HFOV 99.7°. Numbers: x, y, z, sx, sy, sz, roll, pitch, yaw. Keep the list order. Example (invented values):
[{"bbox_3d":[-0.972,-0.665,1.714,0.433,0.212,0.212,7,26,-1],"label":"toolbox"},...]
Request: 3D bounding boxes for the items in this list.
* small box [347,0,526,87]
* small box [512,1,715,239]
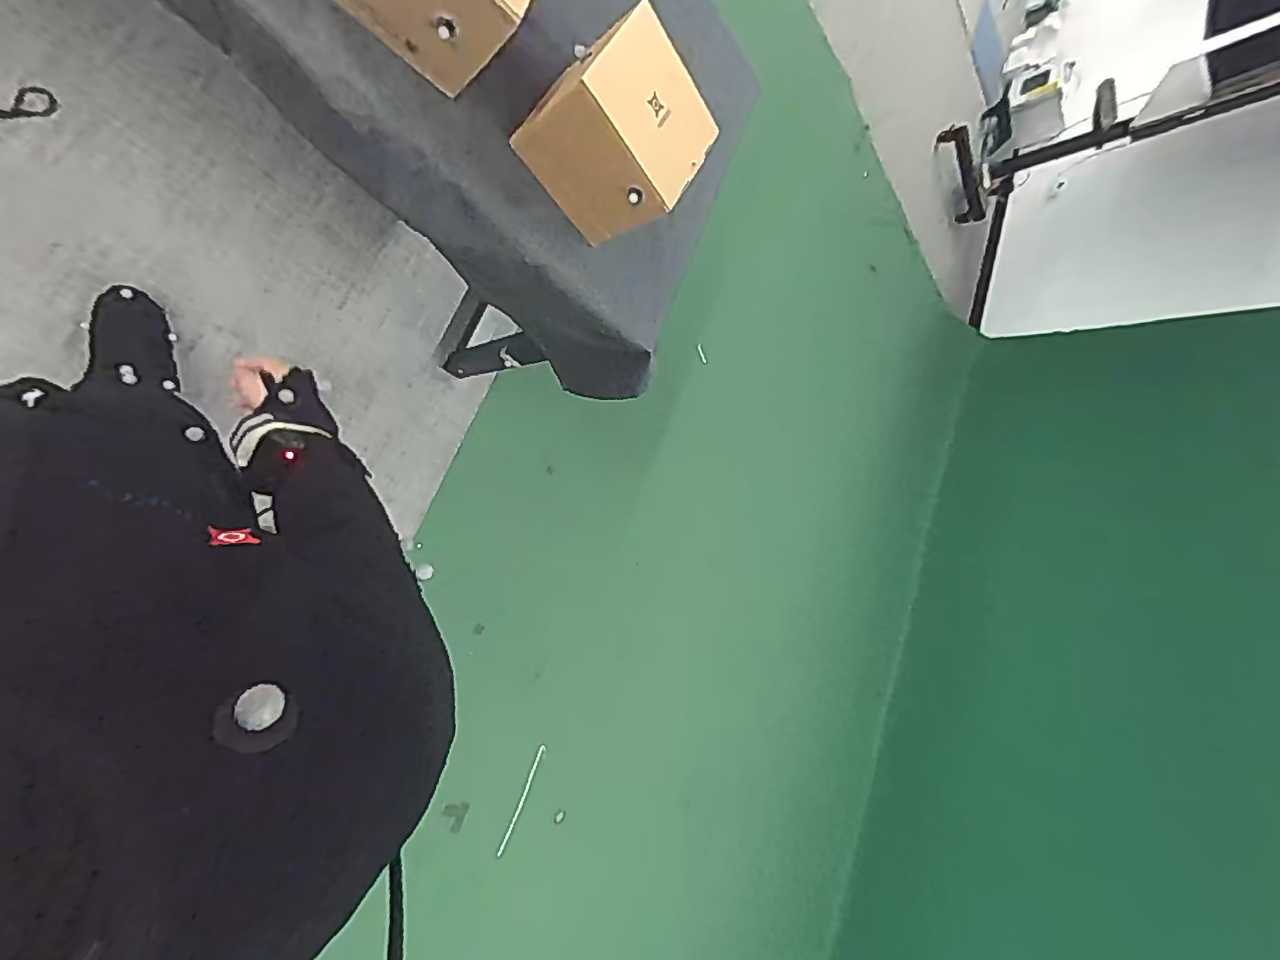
[{"bbox_3d":[-0.207,-0.562,0.552,0.168,0.176,0.179,25,76,-43],"label":"small box"},{"bbox_3d":[-0.037,-0.458,0.719,0.179,0.176,0.168,43,65,-37],"label":"small box"}]
